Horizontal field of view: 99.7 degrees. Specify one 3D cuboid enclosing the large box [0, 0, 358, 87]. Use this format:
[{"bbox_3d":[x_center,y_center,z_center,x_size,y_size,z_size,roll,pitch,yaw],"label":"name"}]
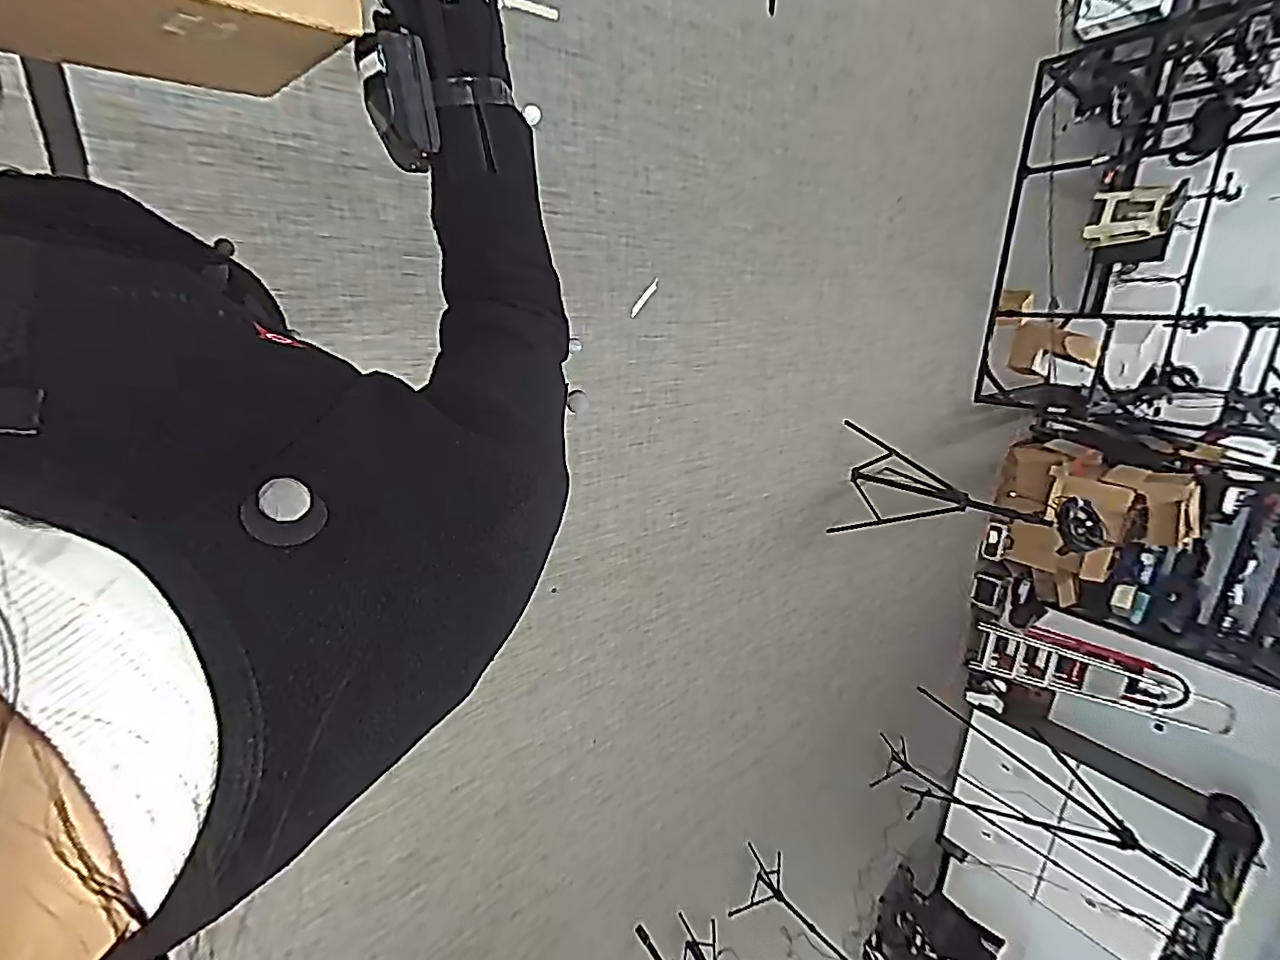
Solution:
[{"bbox_3d":[-0.401,-0.404,0.228,0.408,0.320,0.320,-17,124,-37],"label":"large box"}]
